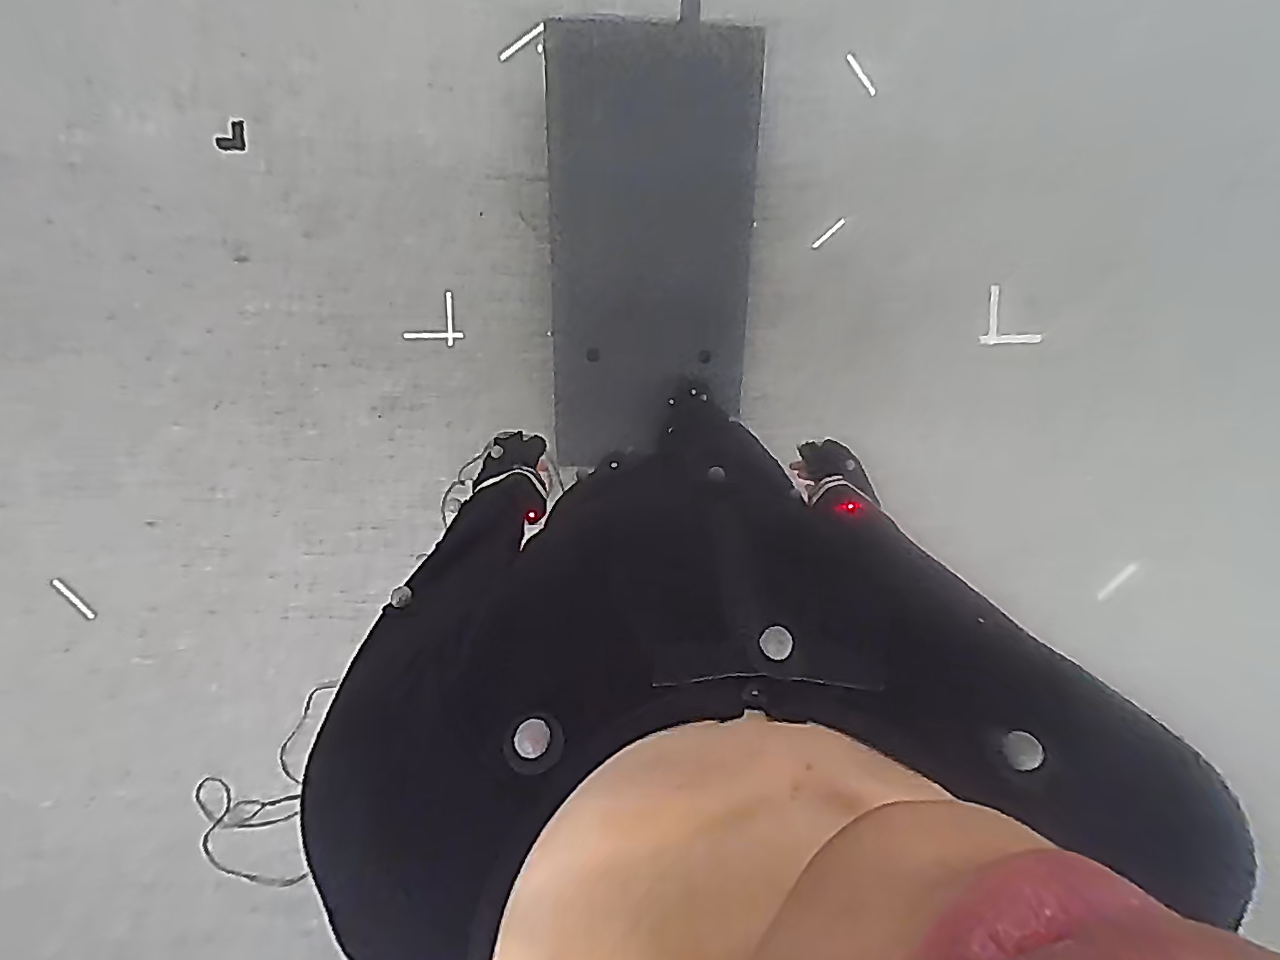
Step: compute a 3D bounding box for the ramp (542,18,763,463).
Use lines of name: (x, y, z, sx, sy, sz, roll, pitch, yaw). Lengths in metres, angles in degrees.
ramp: (0.028, -0.526, 1.329, 0.509, 0.206, 0.991, -2, 97, -4)
